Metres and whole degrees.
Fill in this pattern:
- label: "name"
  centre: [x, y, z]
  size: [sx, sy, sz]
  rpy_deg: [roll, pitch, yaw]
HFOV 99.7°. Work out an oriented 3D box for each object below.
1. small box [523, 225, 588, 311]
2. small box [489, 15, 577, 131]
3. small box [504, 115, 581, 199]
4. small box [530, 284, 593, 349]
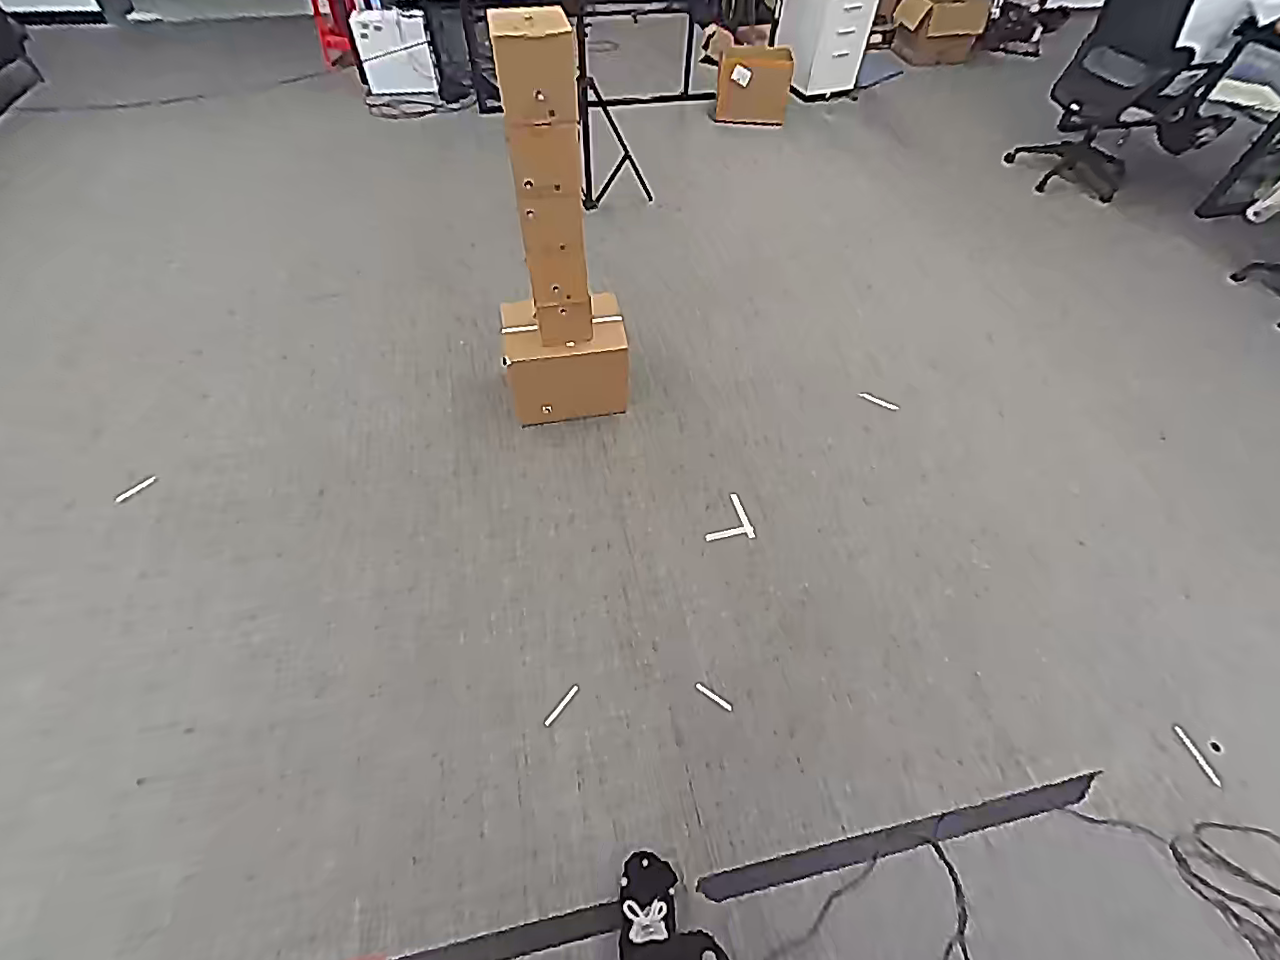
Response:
- label: "small box"
  centre: [-0.252, -0.636, 1.628]
  size: [0.168, 0.176, 0.179]
  rpy_deg: [-10, 56, -9]
- label: "small box"
  centre: [-0.240, -0.920, 1.225]
  size: [0.168, 0.176, 0.179]
  rpy_deg: [-11, 56, -8]
- label: "small box"
  centre: [-0.244, -0.826, 1.360]
  size: [0.168, 0.176, 0.179]
  rpy_deg: [-8, 55, -8]
- label: "small box"
  centre: [-0.253, -0.548, 1.764]
  size: [0.179, 0.176, 0.168]
  rpy_deg: [-10, 56, -10]
